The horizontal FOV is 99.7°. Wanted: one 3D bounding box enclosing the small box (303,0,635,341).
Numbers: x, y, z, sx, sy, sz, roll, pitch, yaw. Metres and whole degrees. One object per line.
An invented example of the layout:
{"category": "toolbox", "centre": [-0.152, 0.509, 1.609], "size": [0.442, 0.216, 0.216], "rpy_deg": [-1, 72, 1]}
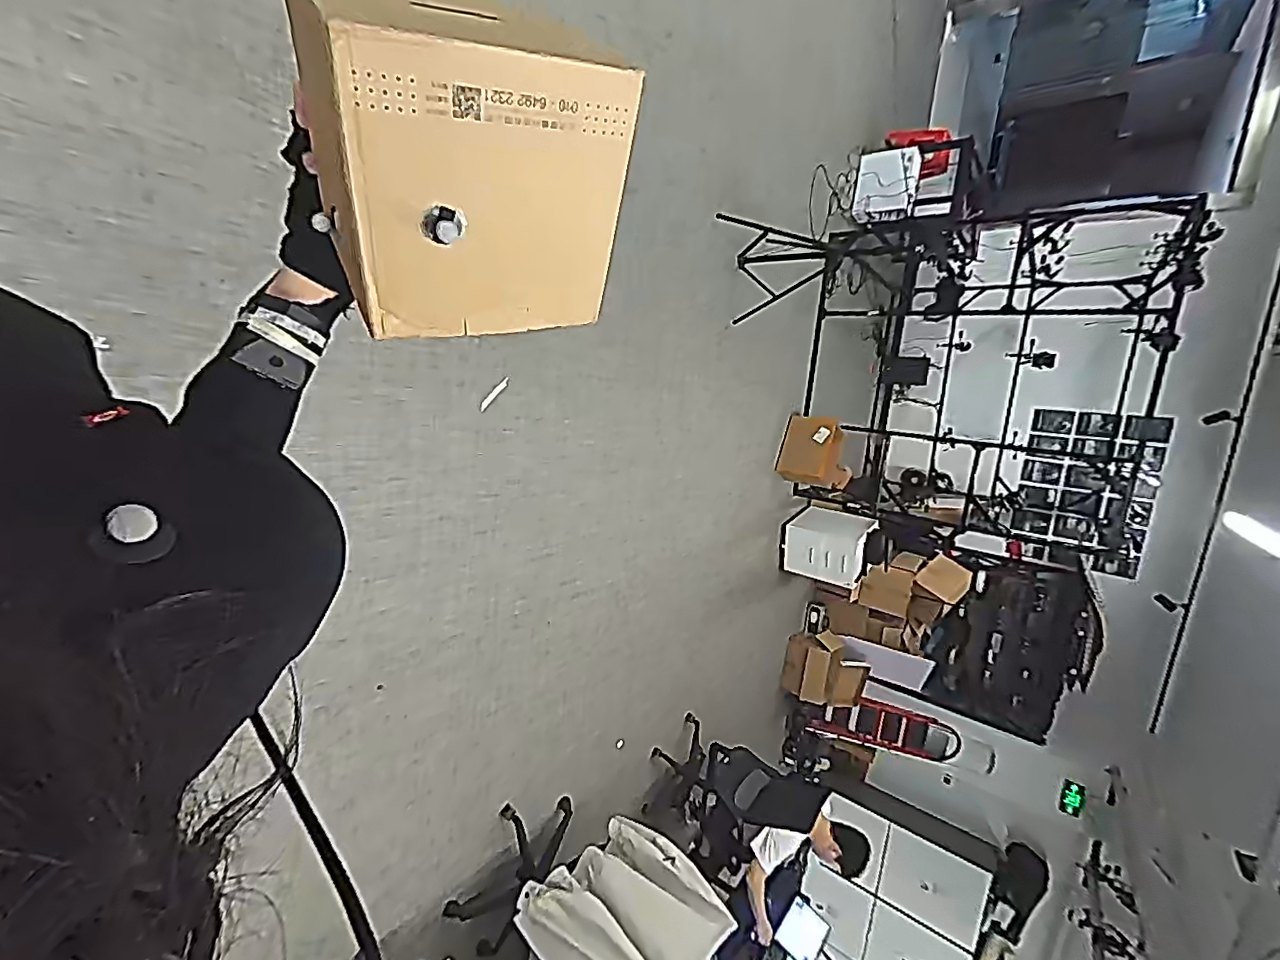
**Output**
{"category": "small box", "centre": [-0.118, -0.219, 0.368], "size": [0.168, 0.179, 0.176], "rpy_deg": [-12, 142, -30]}
